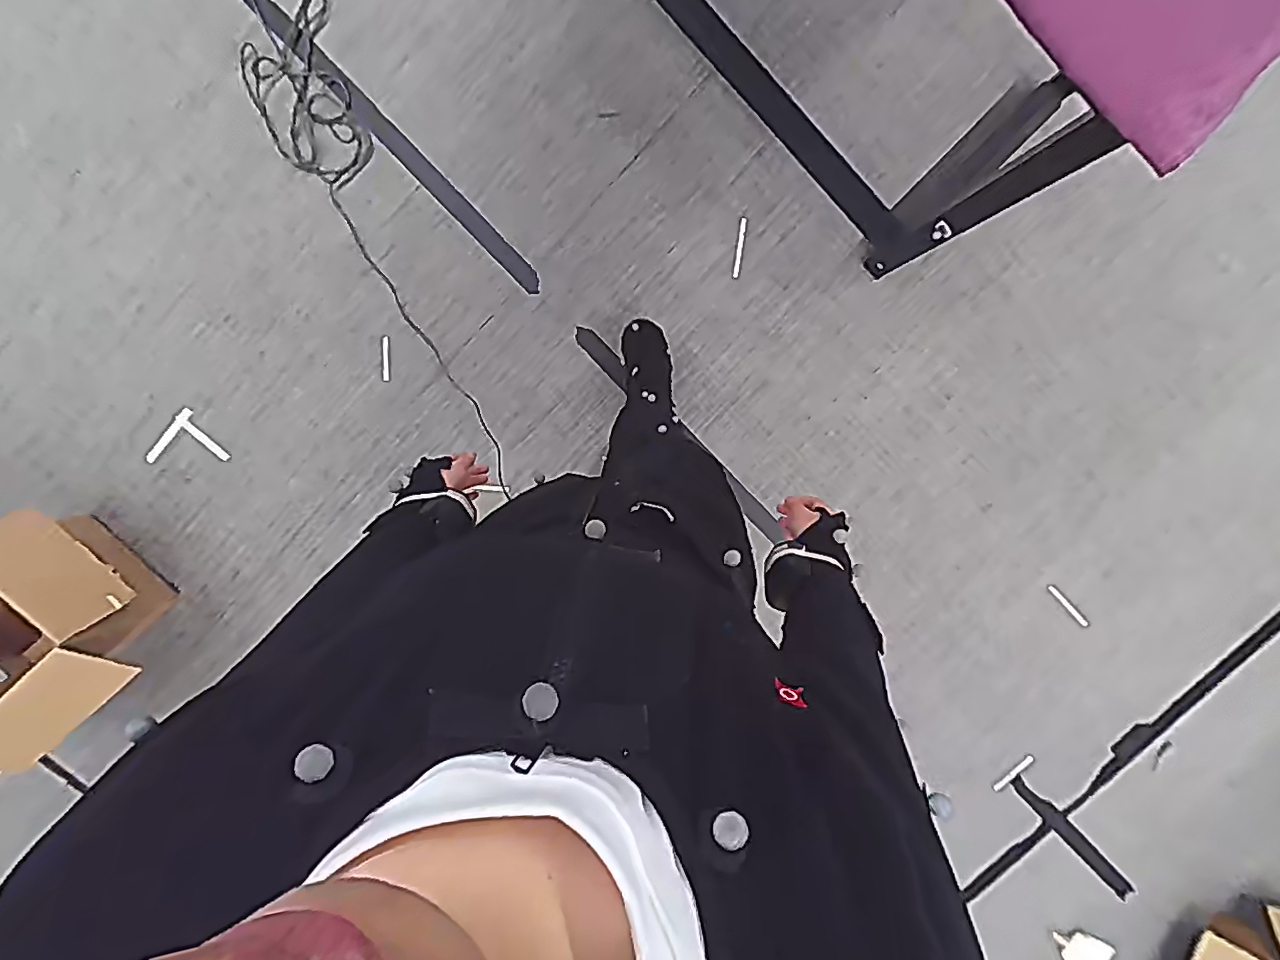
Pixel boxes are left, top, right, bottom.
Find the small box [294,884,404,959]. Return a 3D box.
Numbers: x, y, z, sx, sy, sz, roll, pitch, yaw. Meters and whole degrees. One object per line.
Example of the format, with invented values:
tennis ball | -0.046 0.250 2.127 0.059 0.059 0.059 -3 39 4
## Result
small box | -0.687 1.103 1.252 0.168 0.176 0.179 41 95 -6
